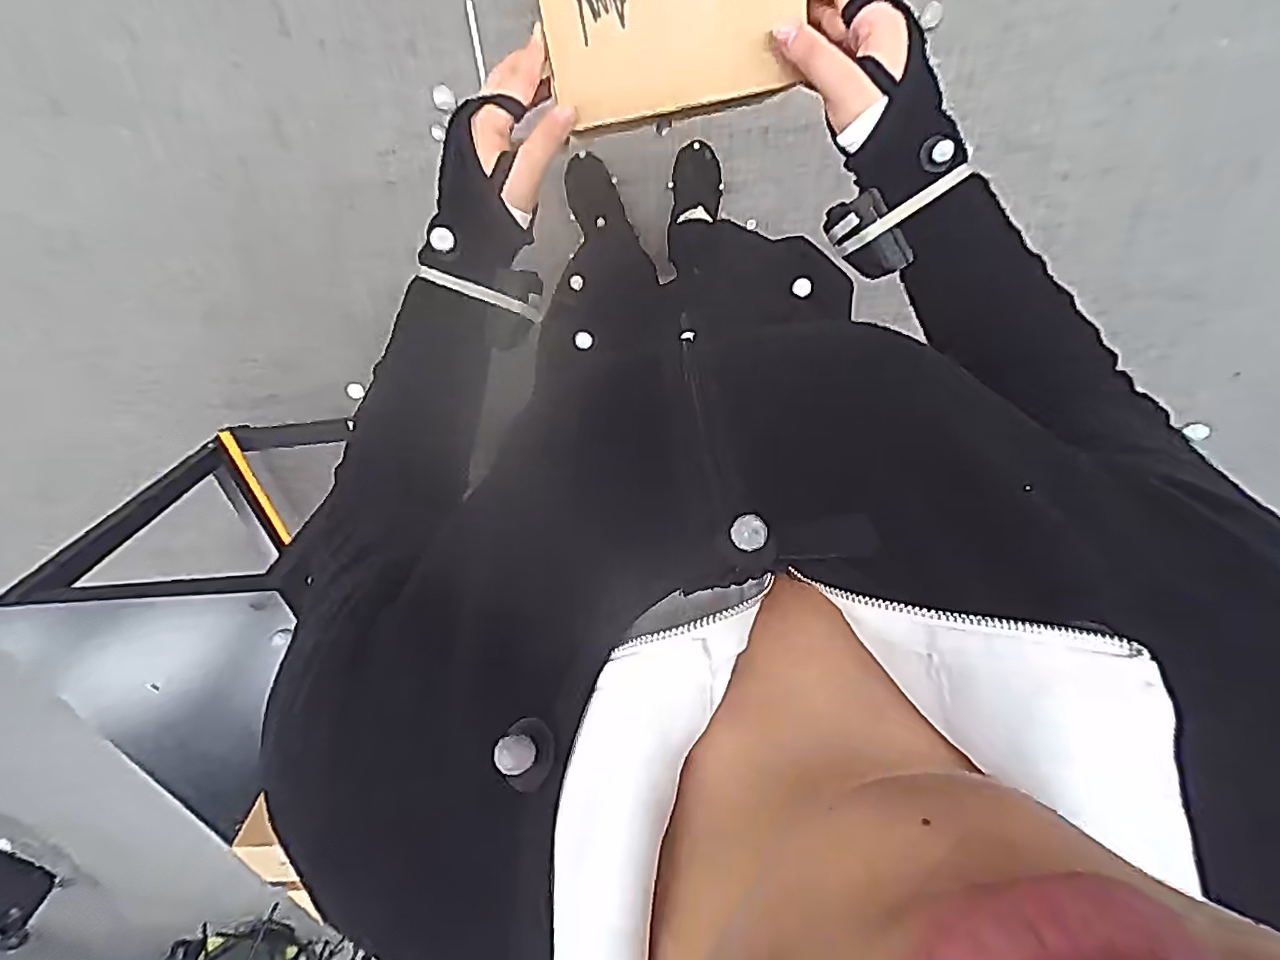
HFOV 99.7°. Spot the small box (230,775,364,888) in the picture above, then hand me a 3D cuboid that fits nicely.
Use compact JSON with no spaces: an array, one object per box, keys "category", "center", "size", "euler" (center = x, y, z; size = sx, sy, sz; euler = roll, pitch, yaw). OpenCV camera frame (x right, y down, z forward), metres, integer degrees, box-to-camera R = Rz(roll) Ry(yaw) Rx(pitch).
[{"category":"small box","center":[-0.764,0.794,1.229],"size":[0.168,0.176,0.179],"euler":[-3,124,3]}]

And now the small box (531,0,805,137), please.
[{"category":"small box","center":[0.014,-0.366,0.402],"size":[0.179,0.176,0.168],"euler":[-8,121,4]}]
